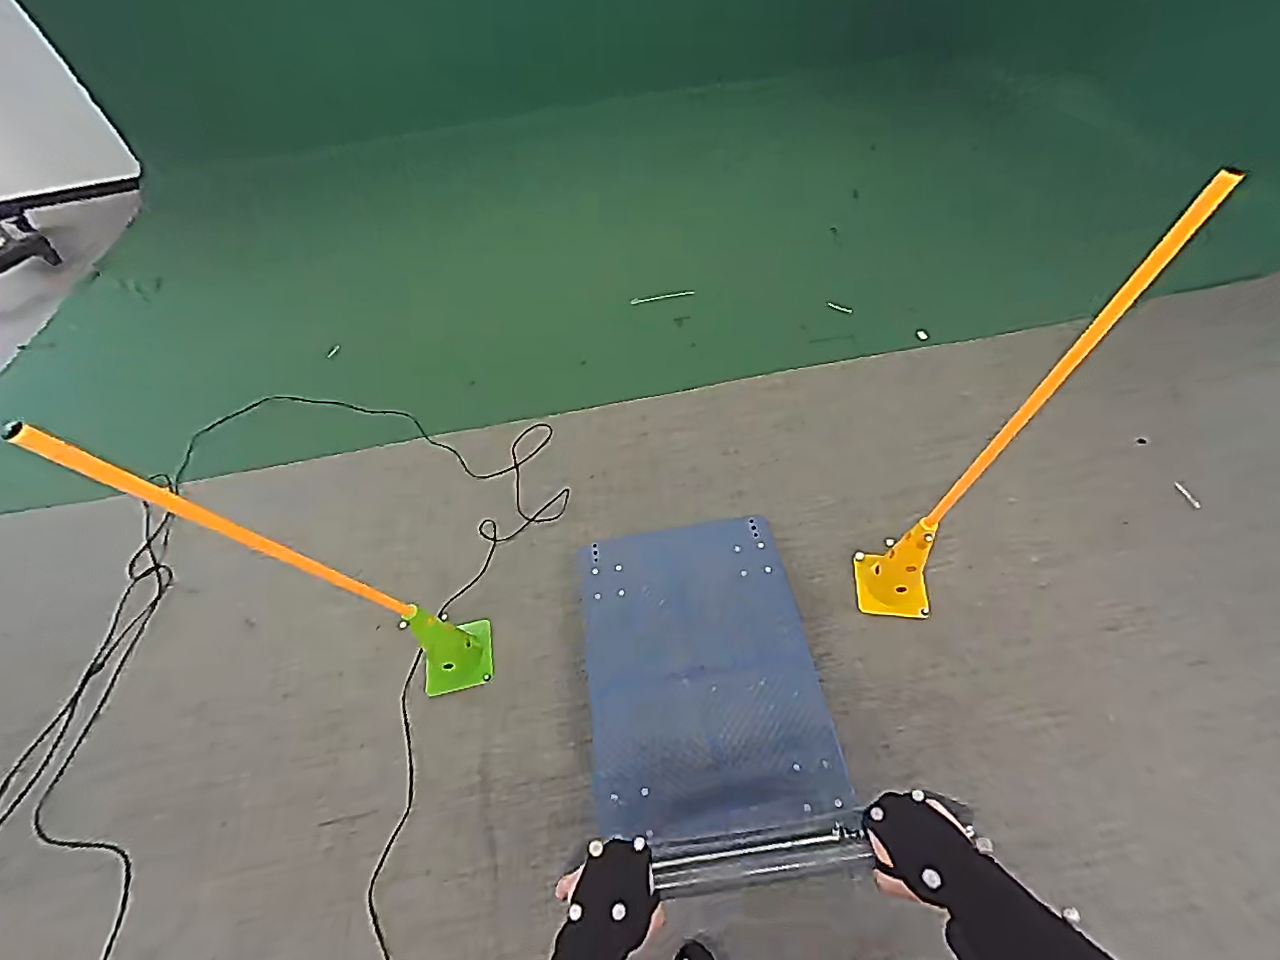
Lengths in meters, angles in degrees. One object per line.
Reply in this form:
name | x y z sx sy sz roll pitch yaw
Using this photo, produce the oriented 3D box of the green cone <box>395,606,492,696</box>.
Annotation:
green cone | -0.572 0.436 1.504 0.202 0.368 0.200 -15 53 -2
